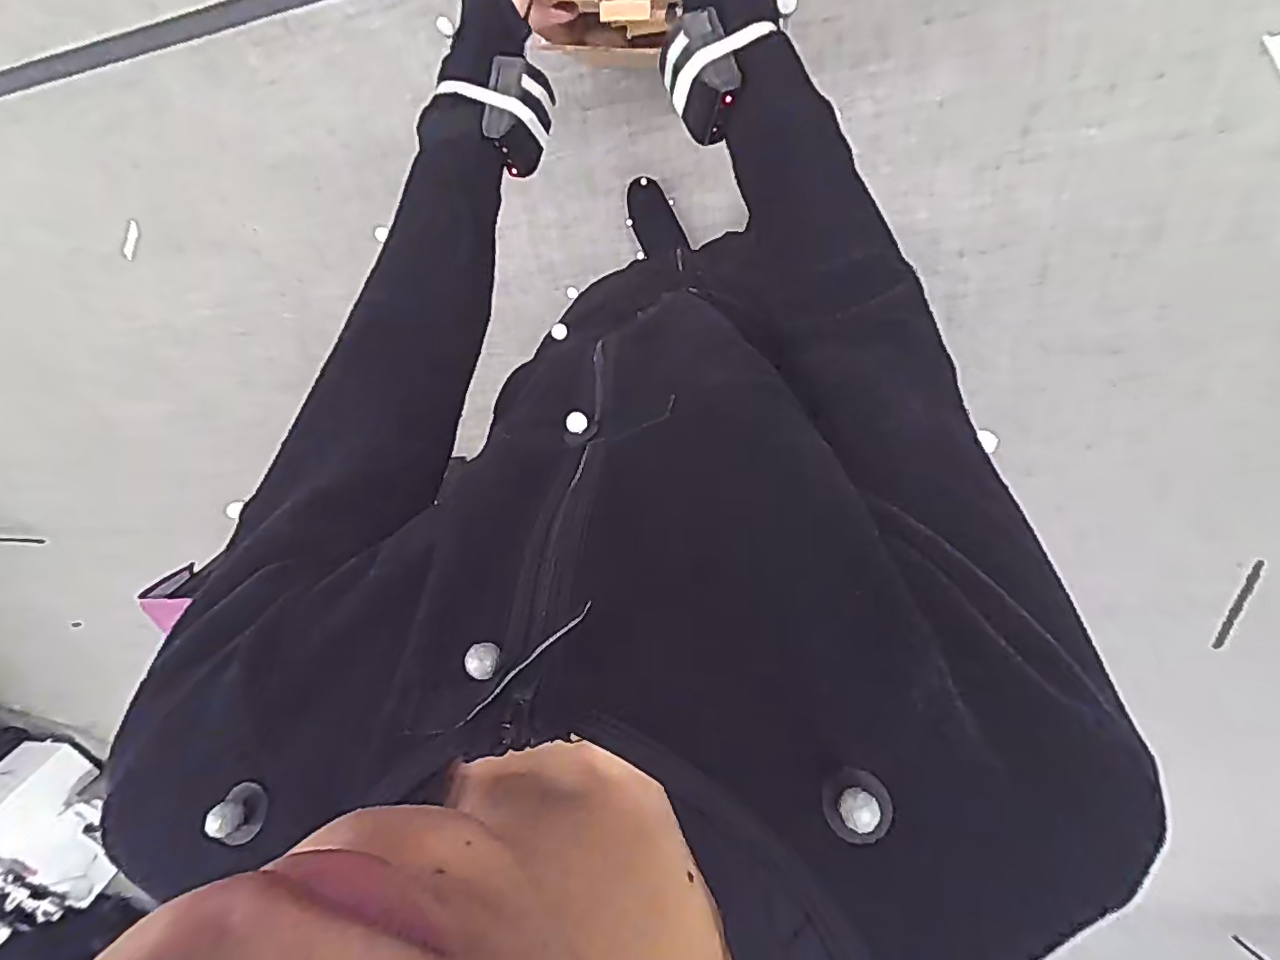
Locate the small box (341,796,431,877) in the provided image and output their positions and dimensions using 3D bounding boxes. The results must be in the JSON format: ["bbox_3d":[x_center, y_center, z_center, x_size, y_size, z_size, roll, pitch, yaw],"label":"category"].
[{"bbox_3d":[-0.803,1.140,1.737,0.179,0.176,0.168,-13,118,19],"label":"small box"}]

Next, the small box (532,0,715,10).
[{"bbox_3d":[-0.006,-0.524,0.467,0.168,0.176,0.179,3,128,5],"label":"small box"}]
